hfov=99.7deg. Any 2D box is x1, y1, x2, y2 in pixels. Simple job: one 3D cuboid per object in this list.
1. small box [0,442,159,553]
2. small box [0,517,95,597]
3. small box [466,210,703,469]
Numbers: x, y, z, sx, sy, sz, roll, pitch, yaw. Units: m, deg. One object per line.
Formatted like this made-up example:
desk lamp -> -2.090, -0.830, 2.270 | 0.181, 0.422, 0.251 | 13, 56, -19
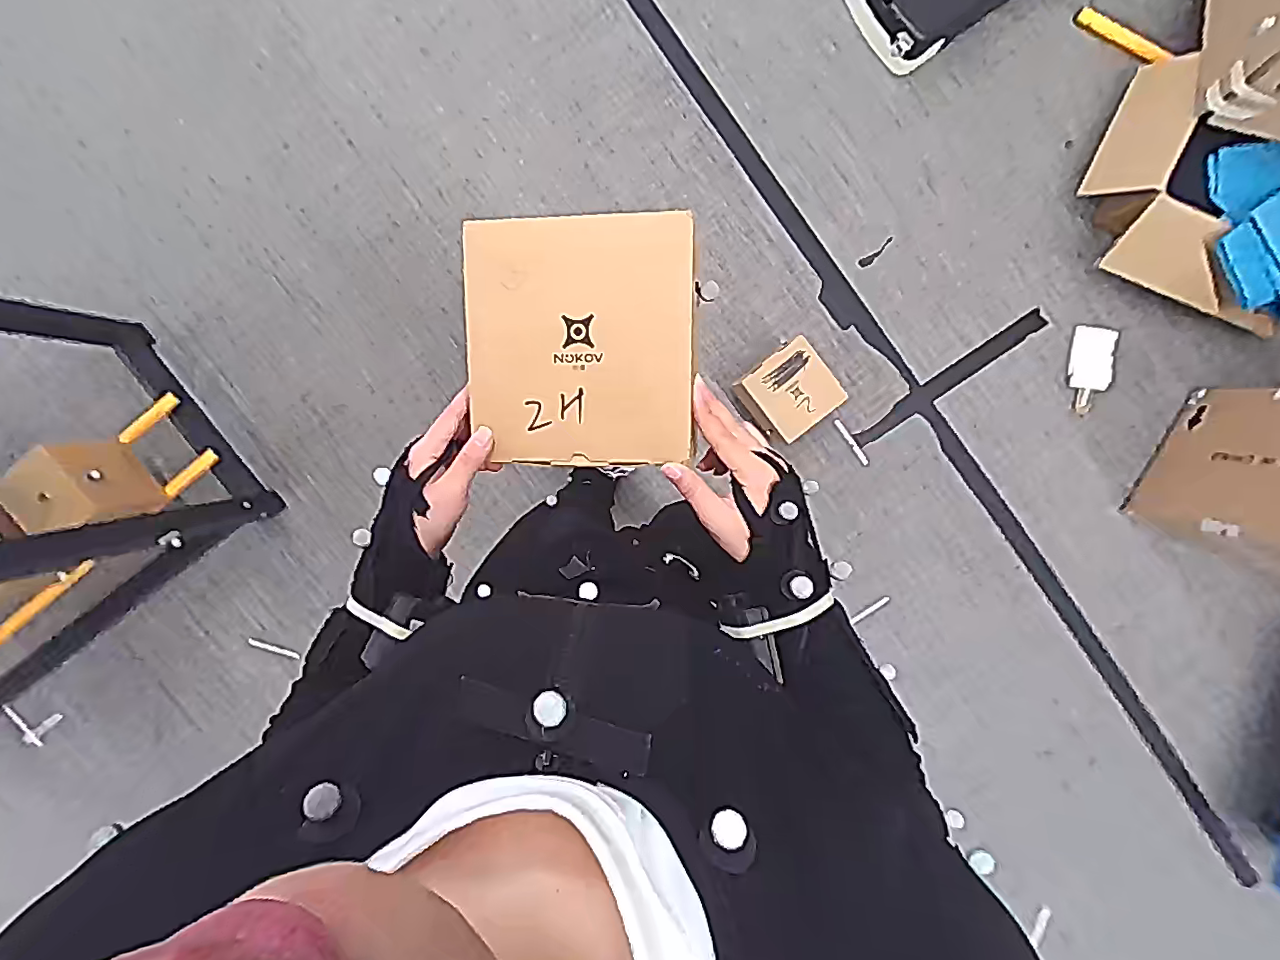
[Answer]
small box -> -1.235, 0.029, 1.183 | 0.168, 0.176, 0.179 | -36, 96, 6
small box -> -1.403, 0.148, 1.203 | 0.168, 0.176, 0.179 | -36, 97, 6
small box -> -0.032, -0.105, 0.455 | 0.168, 0.176, 0.179 | 1, 98, 8
